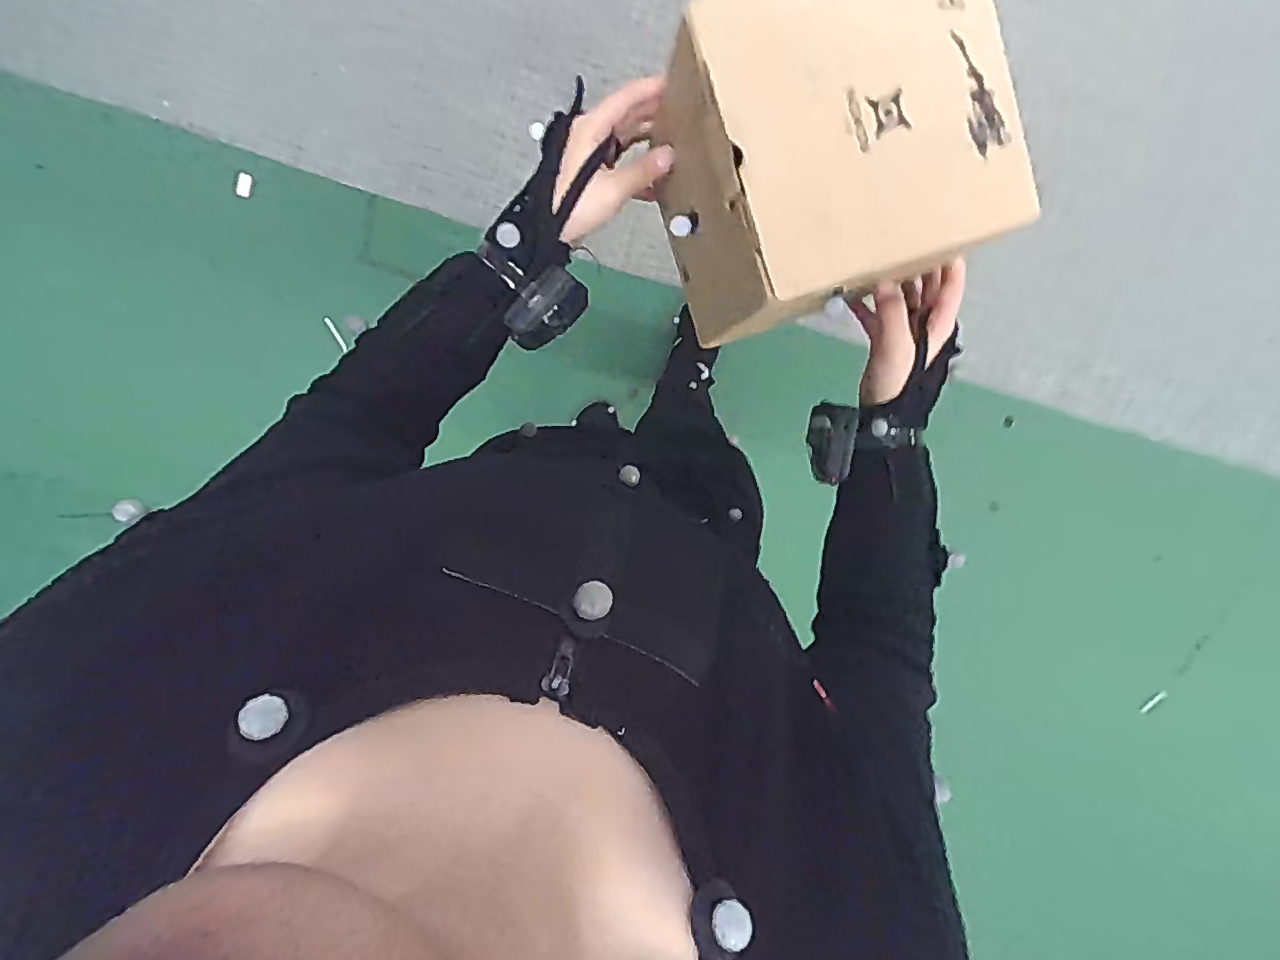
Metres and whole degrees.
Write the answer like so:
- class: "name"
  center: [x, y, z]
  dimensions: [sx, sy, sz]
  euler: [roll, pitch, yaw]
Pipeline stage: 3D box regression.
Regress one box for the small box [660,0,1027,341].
- class: "small box"
  center: [0.120, -0.212, 0.390]
  dimensions: [0.179, 0.176, 0.168]
  euler: [-19, 97, -5]
